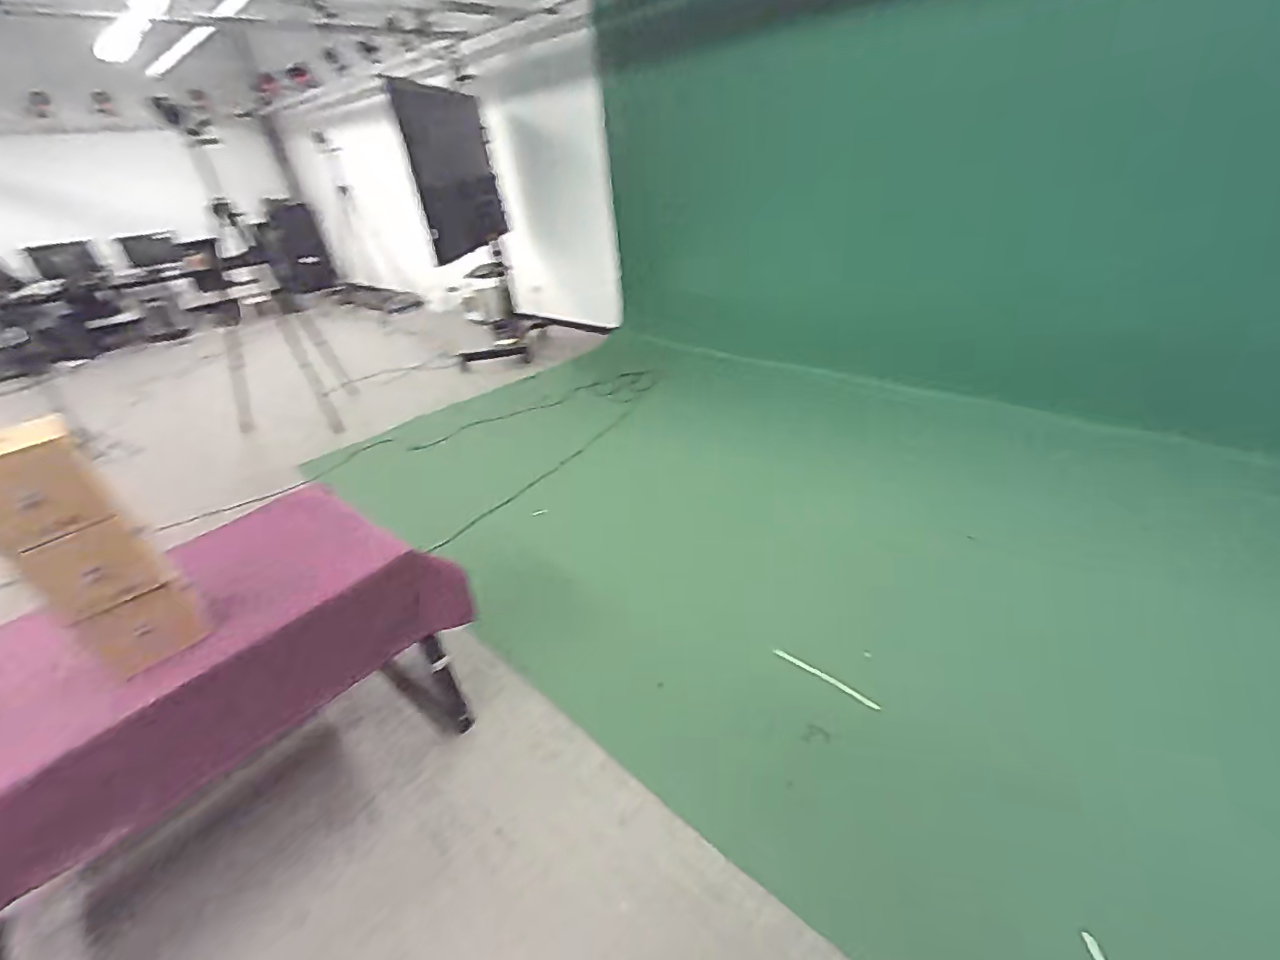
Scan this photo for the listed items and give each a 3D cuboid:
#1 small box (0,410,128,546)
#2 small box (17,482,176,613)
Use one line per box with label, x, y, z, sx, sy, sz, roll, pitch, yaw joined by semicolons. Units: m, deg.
small box;-1.083;-0.004;0.984;0.168;0.176;0.179;-31;39;-34
small box;-1.066;0.136;1.072;0.168;0.176;0.179;-30;39;-33
